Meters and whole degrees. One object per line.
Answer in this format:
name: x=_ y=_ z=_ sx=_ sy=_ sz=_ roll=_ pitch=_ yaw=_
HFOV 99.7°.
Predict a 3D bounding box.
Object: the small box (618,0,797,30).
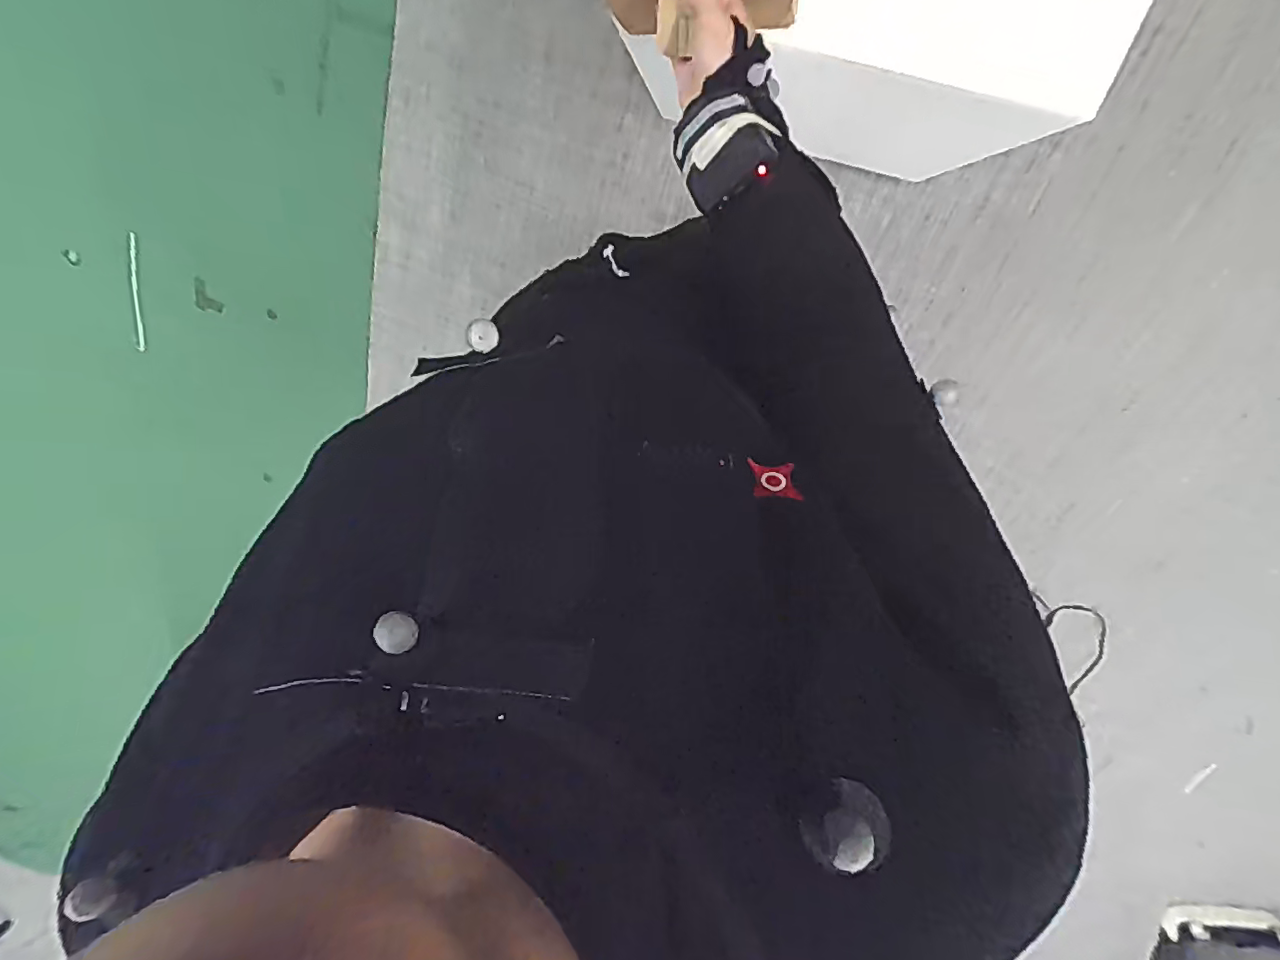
small box: x=0.053 y=-0.486 z=0.420 sx=0.168 sy=0.176 sz=0.179 roll=6 pitch=118 yaw=10
